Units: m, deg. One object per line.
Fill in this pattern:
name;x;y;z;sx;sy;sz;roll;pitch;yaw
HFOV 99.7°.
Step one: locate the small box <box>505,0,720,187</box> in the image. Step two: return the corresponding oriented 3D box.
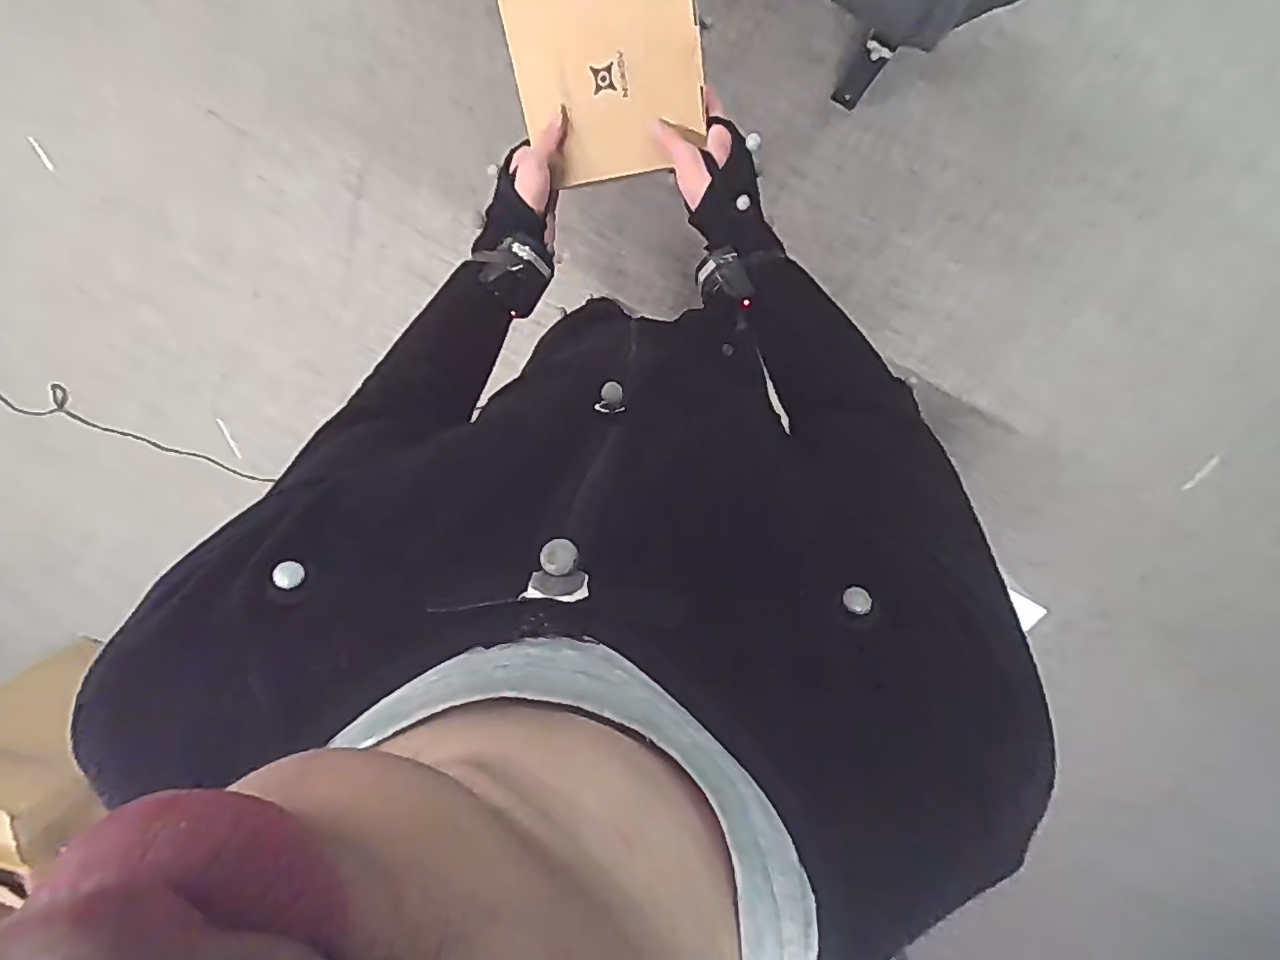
small box;-0.014;-0.413;0.559;0.179;0.176;0.168;-5;119;12
